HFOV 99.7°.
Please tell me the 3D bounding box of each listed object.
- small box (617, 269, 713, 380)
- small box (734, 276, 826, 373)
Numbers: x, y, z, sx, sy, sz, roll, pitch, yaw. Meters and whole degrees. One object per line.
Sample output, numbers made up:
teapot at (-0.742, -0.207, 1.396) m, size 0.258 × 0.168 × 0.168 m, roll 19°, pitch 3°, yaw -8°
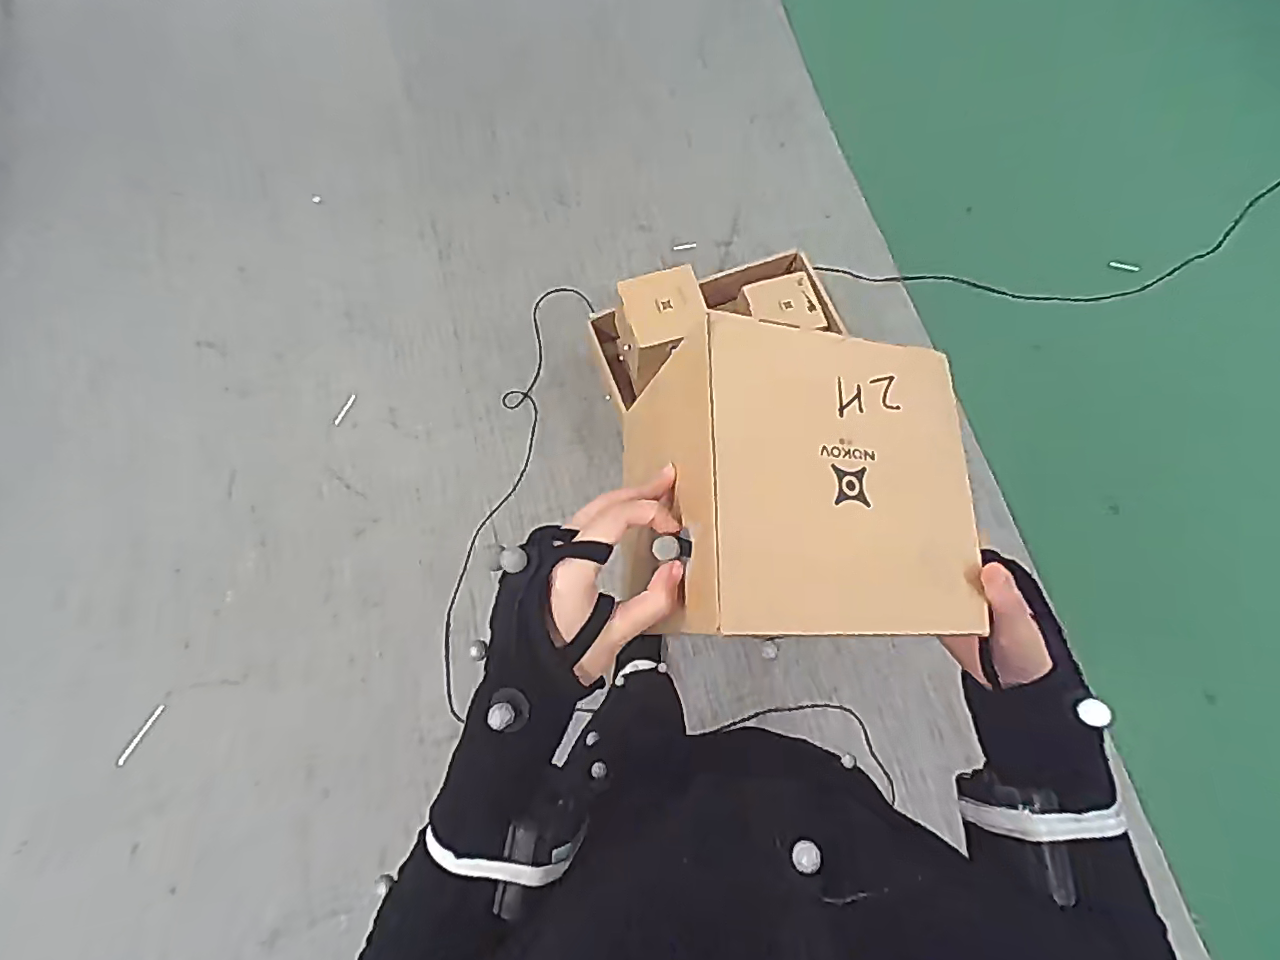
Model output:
small box at (0.050, -0.348, 1.241) m, size 0.179 × 0.176 × 0.168 m, roll -16°, pitch 77°, yaw -7°
small box at (0.360, -0.406, 1.438) m, size 0.179 × 0.176 × 0.168 m, roll -15°, pitch 76°, yaw -5°
